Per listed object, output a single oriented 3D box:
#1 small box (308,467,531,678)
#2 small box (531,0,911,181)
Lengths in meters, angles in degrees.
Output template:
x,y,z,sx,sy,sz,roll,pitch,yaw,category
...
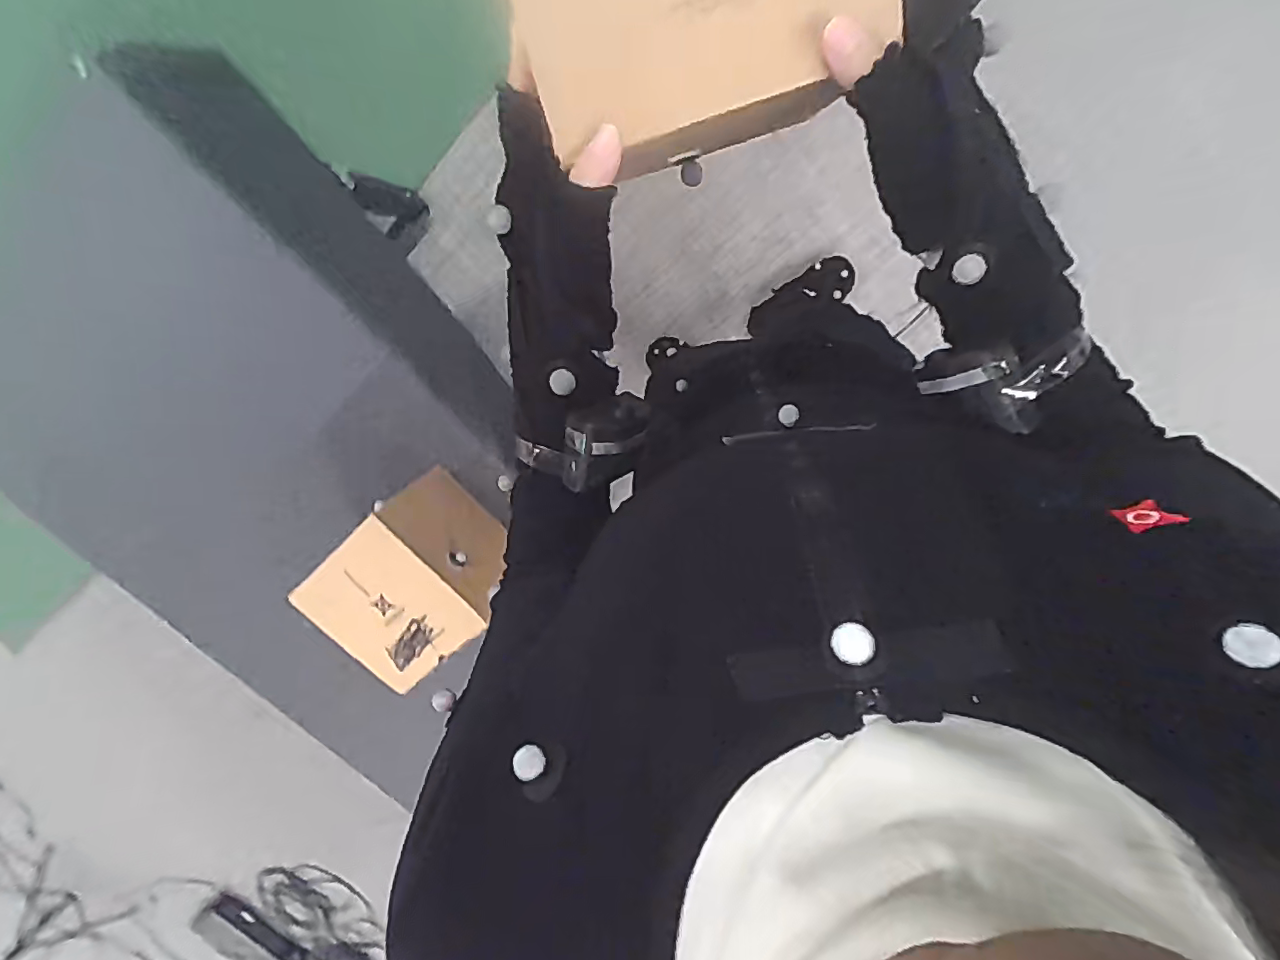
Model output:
x,y,z,sx,sy,sz,roll,pitch,yaw,category
-0.271,0.111,0.707,0.168,0.176,0.179,-40,101,17,small box
0.024,-0.287,0.296,0.168,0.176,0.179,-14,114,8,small box
